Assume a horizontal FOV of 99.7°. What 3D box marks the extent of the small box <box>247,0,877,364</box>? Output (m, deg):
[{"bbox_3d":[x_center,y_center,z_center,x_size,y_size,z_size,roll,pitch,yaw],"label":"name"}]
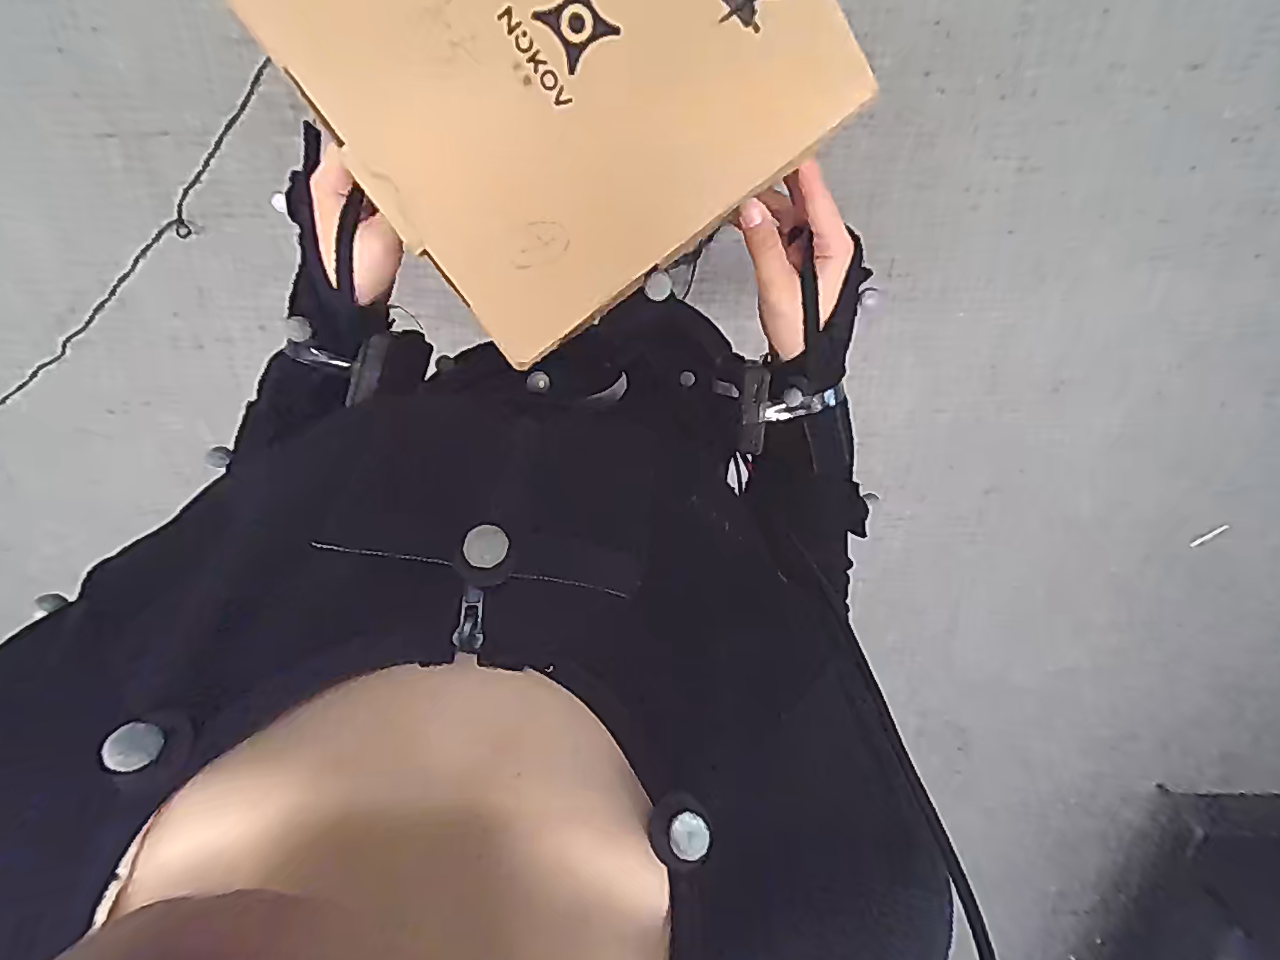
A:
[{"bbox_3d":[-0.025,-0.181,0.271,0.179,0.176,0.168,-34,105,11],"label":"small box"}]
